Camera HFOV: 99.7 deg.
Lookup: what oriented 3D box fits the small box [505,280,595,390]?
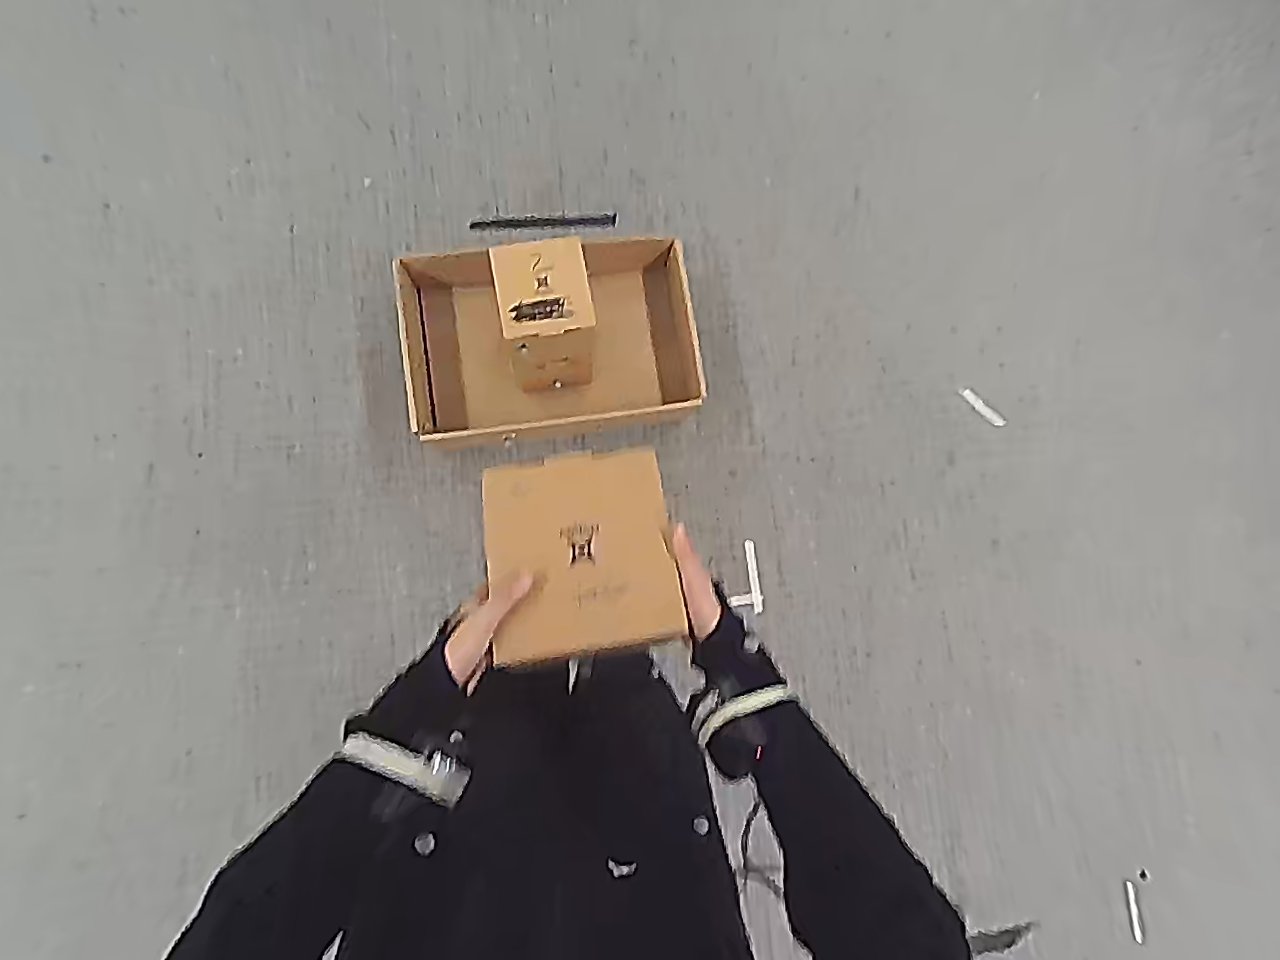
[{"bbox_3d":[-0.198,-0.316,1.201,0.168,0.176,0.179,-10,85,-8],"label":"small box"}]
